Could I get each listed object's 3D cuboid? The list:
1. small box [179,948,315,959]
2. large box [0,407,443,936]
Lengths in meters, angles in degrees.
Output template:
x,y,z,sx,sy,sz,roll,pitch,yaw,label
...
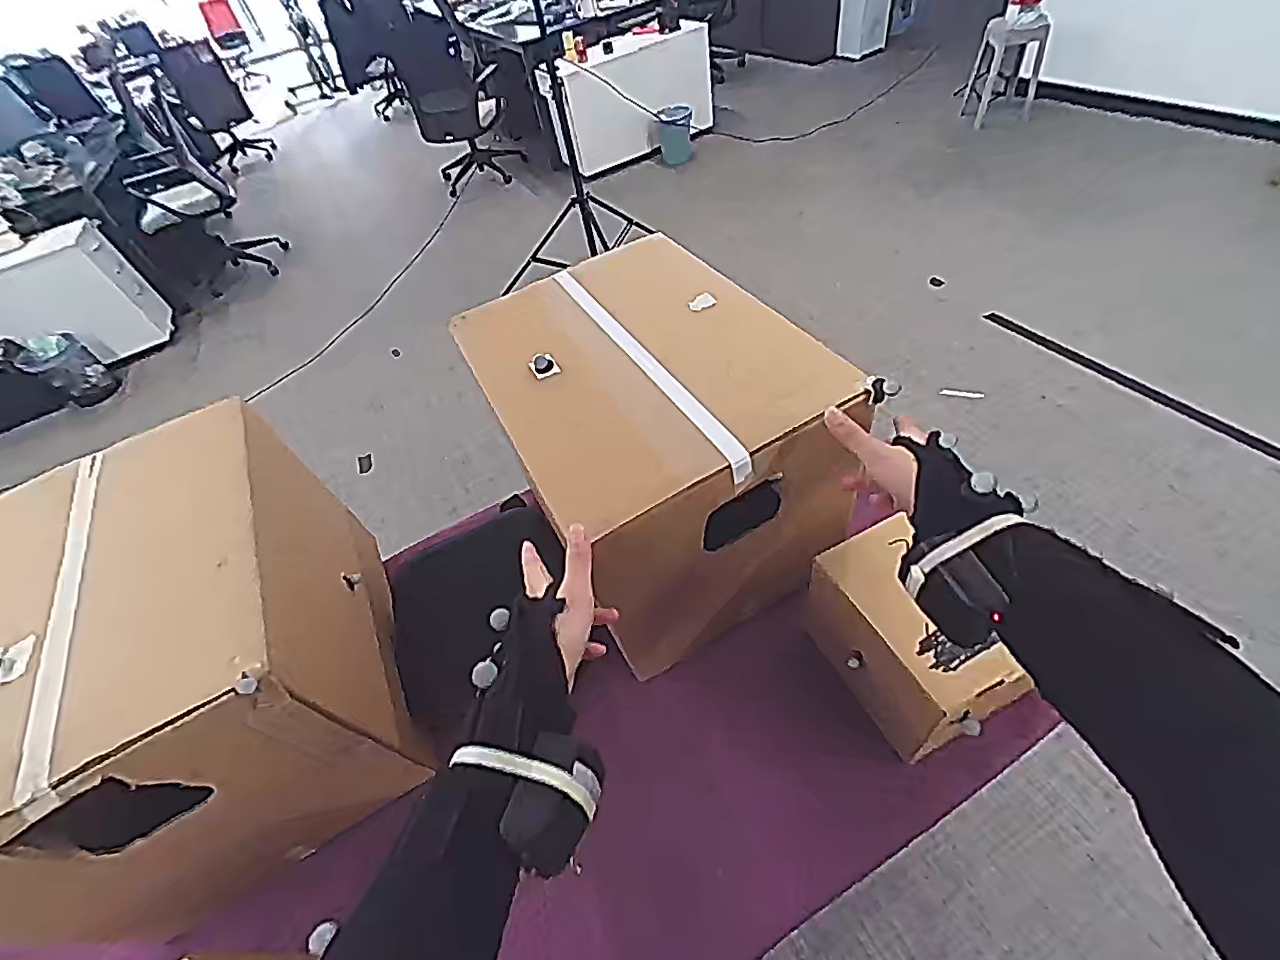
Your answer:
x,y,z,sx,sy,sz,roll,pitch,yaw,label
-0.363,0.508,0.410,0.179,0.176,0.168,-30,49,-15,small box
-0.480,0.195,0.611,0.320,0.320,0.408,-30,53,-13,large box
